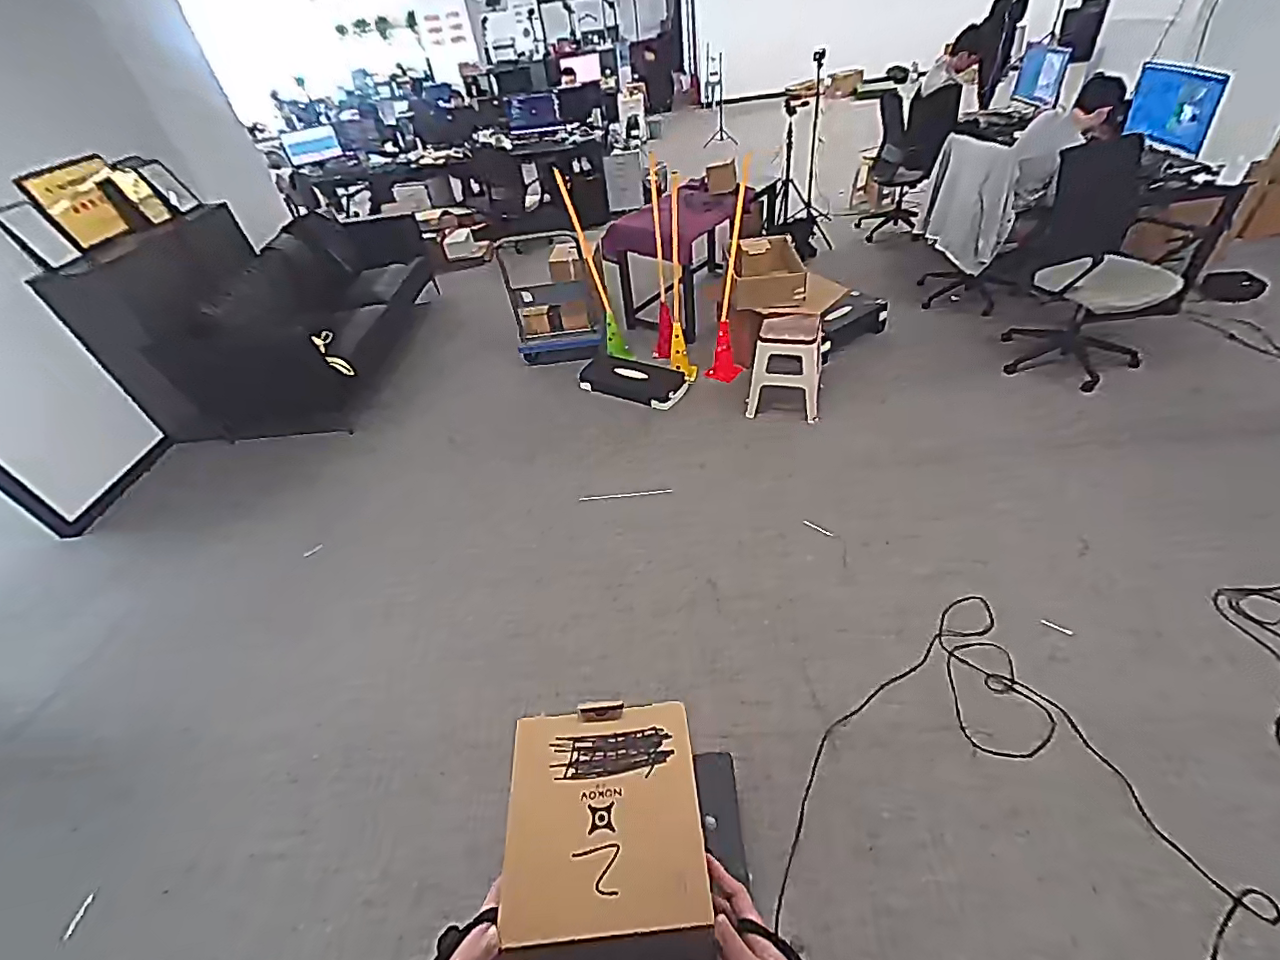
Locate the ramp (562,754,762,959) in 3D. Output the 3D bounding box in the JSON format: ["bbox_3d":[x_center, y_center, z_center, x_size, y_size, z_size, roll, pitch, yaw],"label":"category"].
[{"bbox_3d":[0.047,1.155,1.306,0.509,0.206,0.991,-7,41,4],"label":"ramp"}]
